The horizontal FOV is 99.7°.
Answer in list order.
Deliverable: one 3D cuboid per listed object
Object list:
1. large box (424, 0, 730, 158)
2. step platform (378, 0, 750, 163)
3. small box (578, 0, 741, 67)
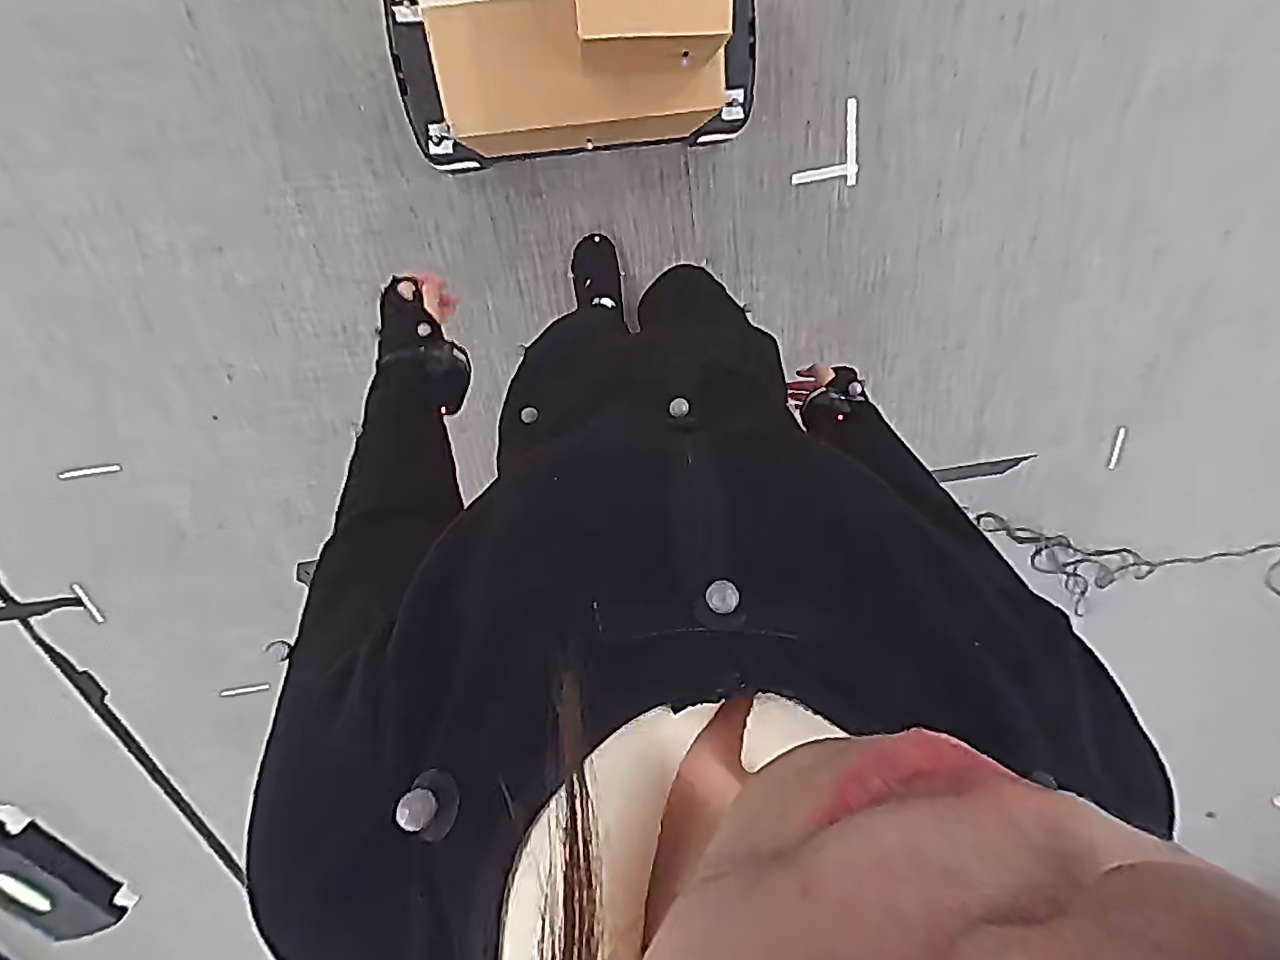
[{"bbox_3d":[-0.095,-0.712,0.839,0.408,0.320,0.320,-8,115,-1],"label":"large box"},{"bbox_3d":[-0.132,-0.797,1.059,0.684,0.204,0.286,-3,116,-4],"label":"step platform"},{"bbox_3d":[0.014,-0.602,0.629,0.179,0.176,0.168,-4,116,-3],"label":"small box"}]
